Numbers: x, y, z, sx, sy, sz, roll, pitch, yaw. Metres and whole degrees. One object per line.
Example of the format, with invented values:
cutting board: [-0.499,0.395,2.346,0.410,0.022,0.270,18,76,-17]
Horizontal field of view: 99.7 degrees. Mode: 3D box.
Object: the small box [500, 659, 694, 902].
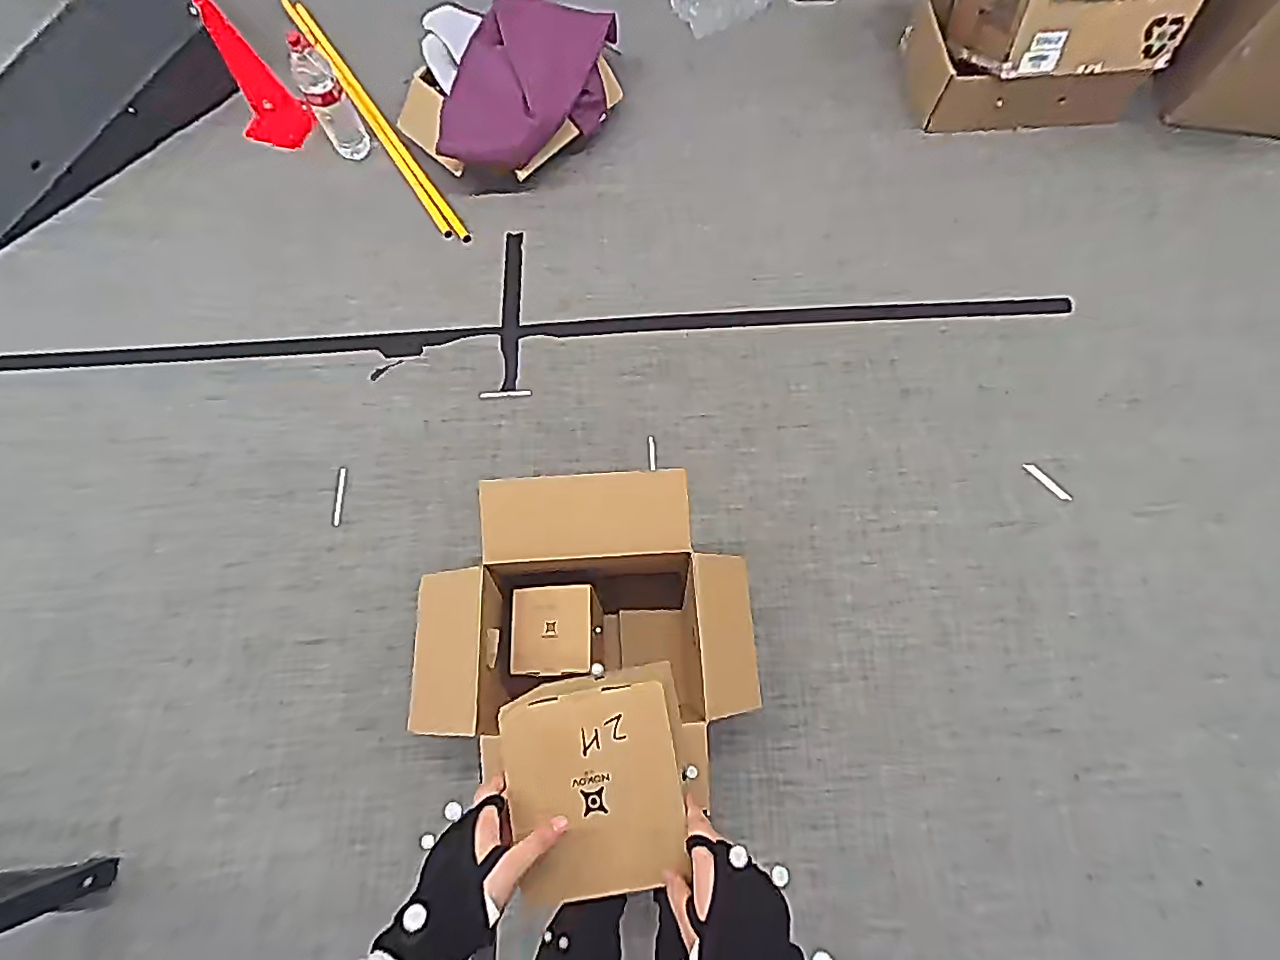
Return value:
small box: [-0.036,0.305,0.586,0.168,0.176,0.179,-11,77,3]
